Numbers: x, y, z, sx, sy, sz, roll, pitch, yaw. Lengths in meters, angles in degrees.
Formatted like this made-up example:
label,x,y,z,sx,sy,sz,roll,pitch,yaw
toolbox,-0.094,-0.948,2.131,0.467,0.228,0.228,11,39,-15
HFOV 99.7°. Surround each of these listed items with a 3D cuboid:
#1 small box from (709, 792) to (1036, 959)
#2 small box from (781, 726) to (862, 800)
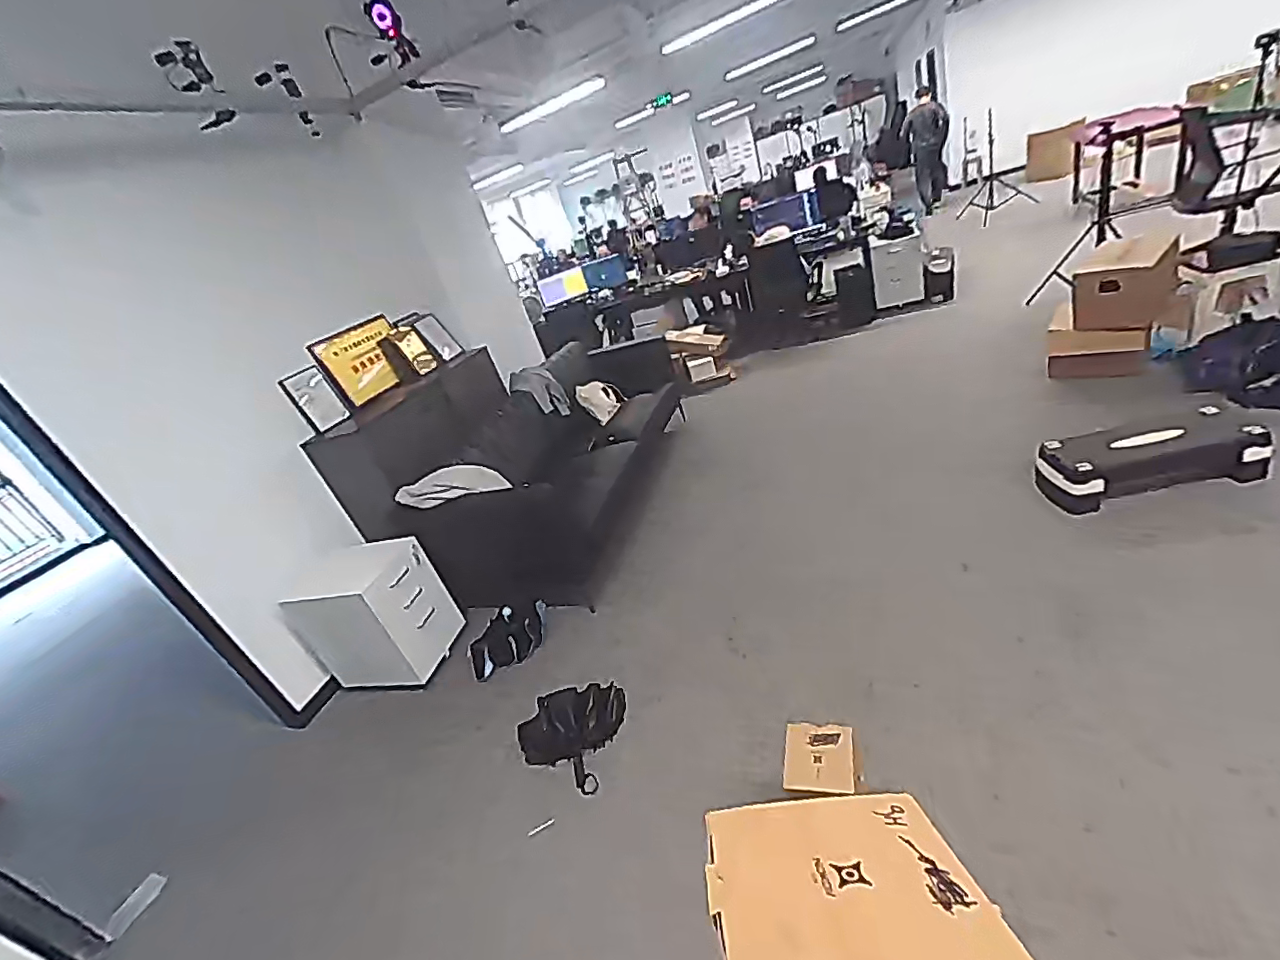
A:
label,x,y,z,sx,sy,sz,roll,pitch,yaw
small box,0.150,0.357,0.382,0.179,0.176,0.168,-6,2,3
small box,0.463,0.757,1.371,0.168,0.176,0.179,-9,29,24
